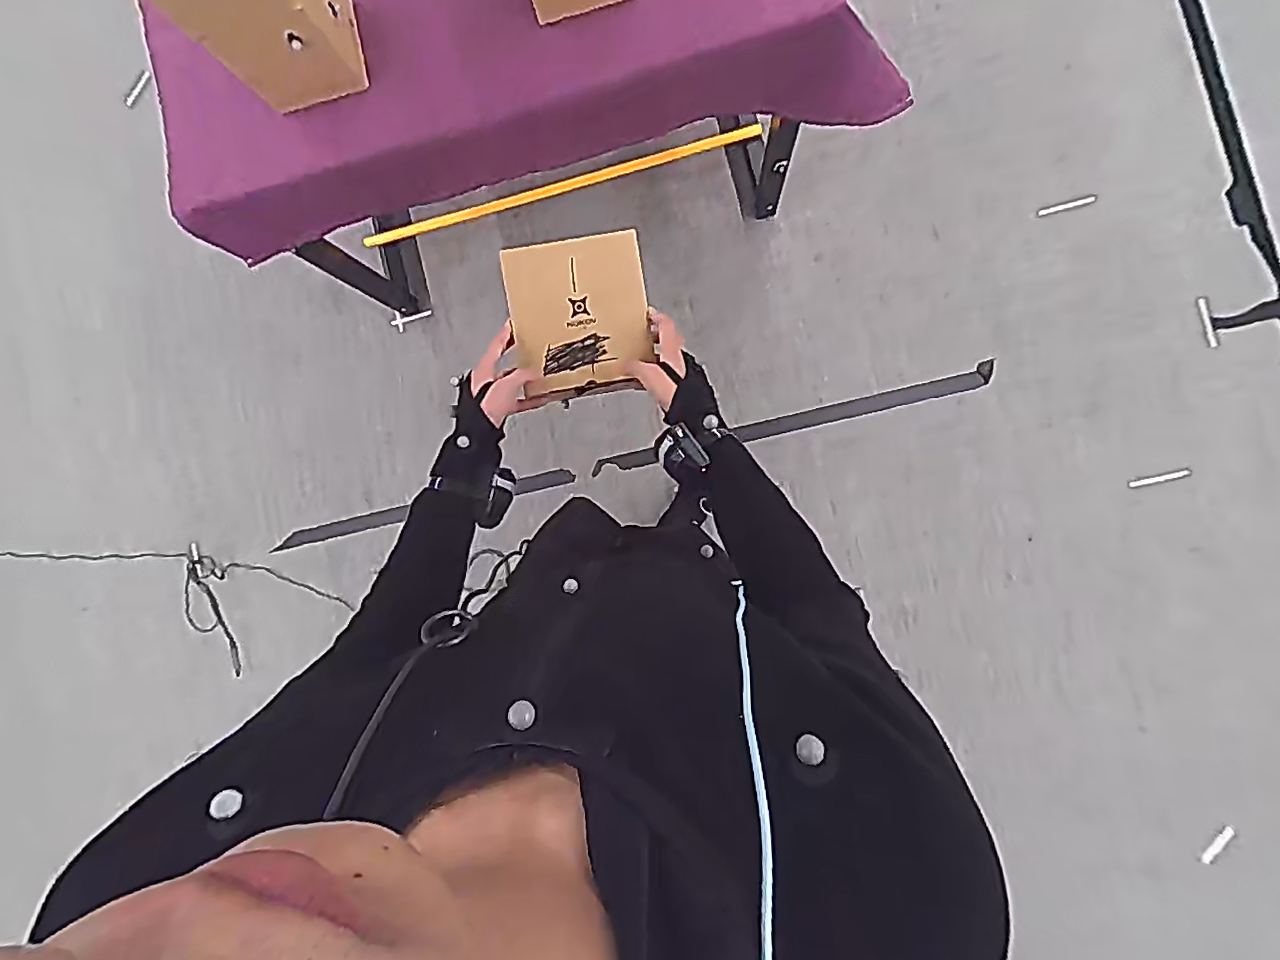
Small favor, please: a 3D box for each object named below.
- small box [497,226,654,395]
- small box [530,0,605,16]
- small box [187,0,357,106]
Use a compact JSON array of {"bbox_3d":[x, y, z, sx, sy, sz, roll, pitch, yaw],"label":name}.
[{"bbox_3d":[-0.075,-0.209,0.717,0.168,0.176,0.179,-9,96,0],"label":"small box"},{"bbox_3d":[-0.118,-0.876,0.833,0.179,0.176,0.168,-12,88,5],"label":"small box"},{"bbox_3d":[-0.590,-0.758,0.879,0.179,0.176,0.168,-11,89,5],"label":"small box"}]
